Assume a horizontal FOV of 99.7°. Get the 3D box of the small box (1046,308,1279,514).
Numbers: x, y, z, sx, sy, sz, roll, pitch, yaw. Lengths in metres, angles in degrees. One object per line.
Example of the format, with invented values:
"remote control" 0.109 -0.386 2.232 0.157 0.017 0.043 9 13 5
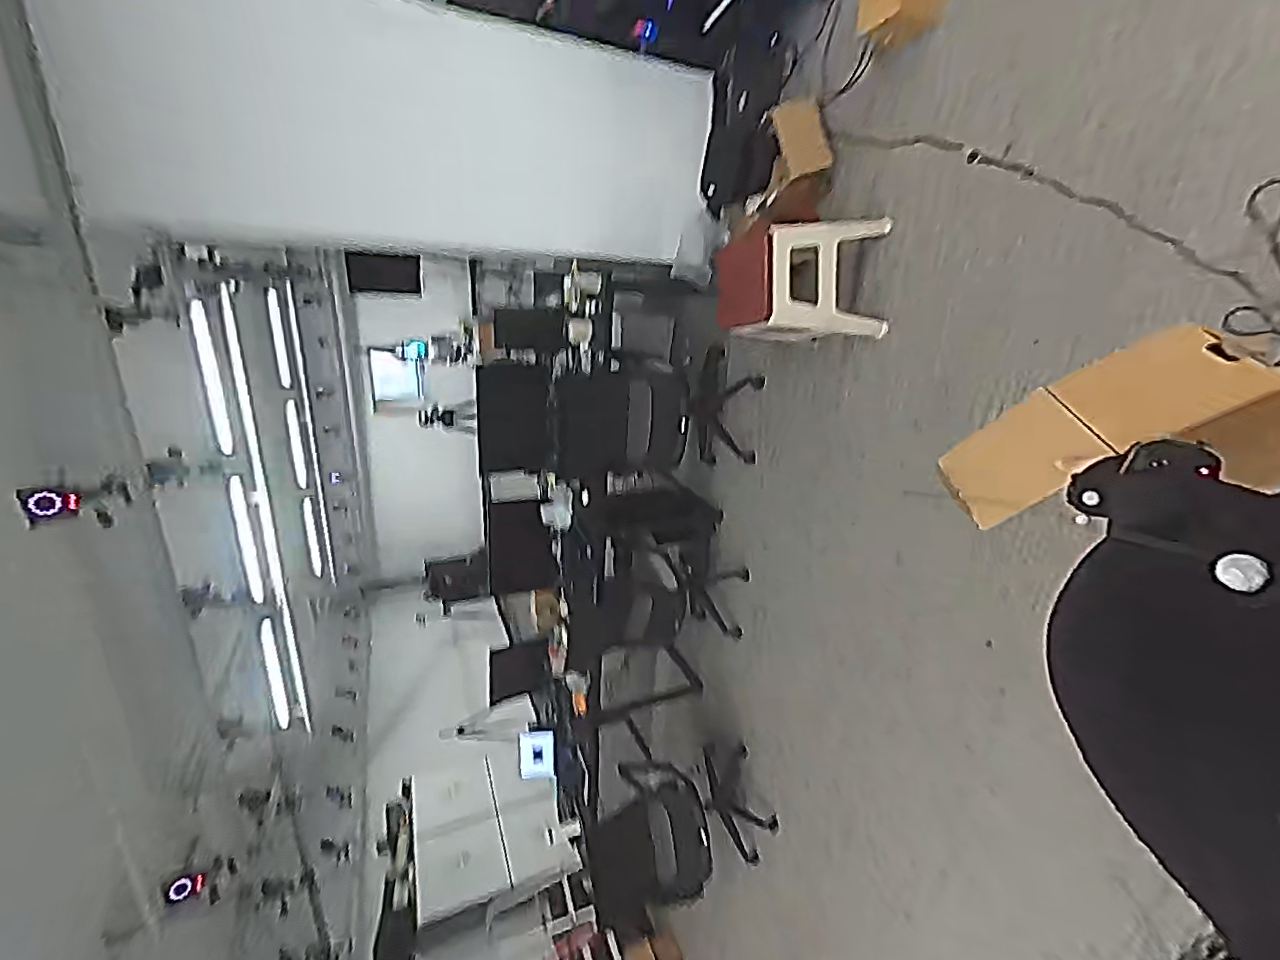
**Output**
"small box" 0.693 -0.084 0.718 0.179 0.176 0.168 -29 35 24
